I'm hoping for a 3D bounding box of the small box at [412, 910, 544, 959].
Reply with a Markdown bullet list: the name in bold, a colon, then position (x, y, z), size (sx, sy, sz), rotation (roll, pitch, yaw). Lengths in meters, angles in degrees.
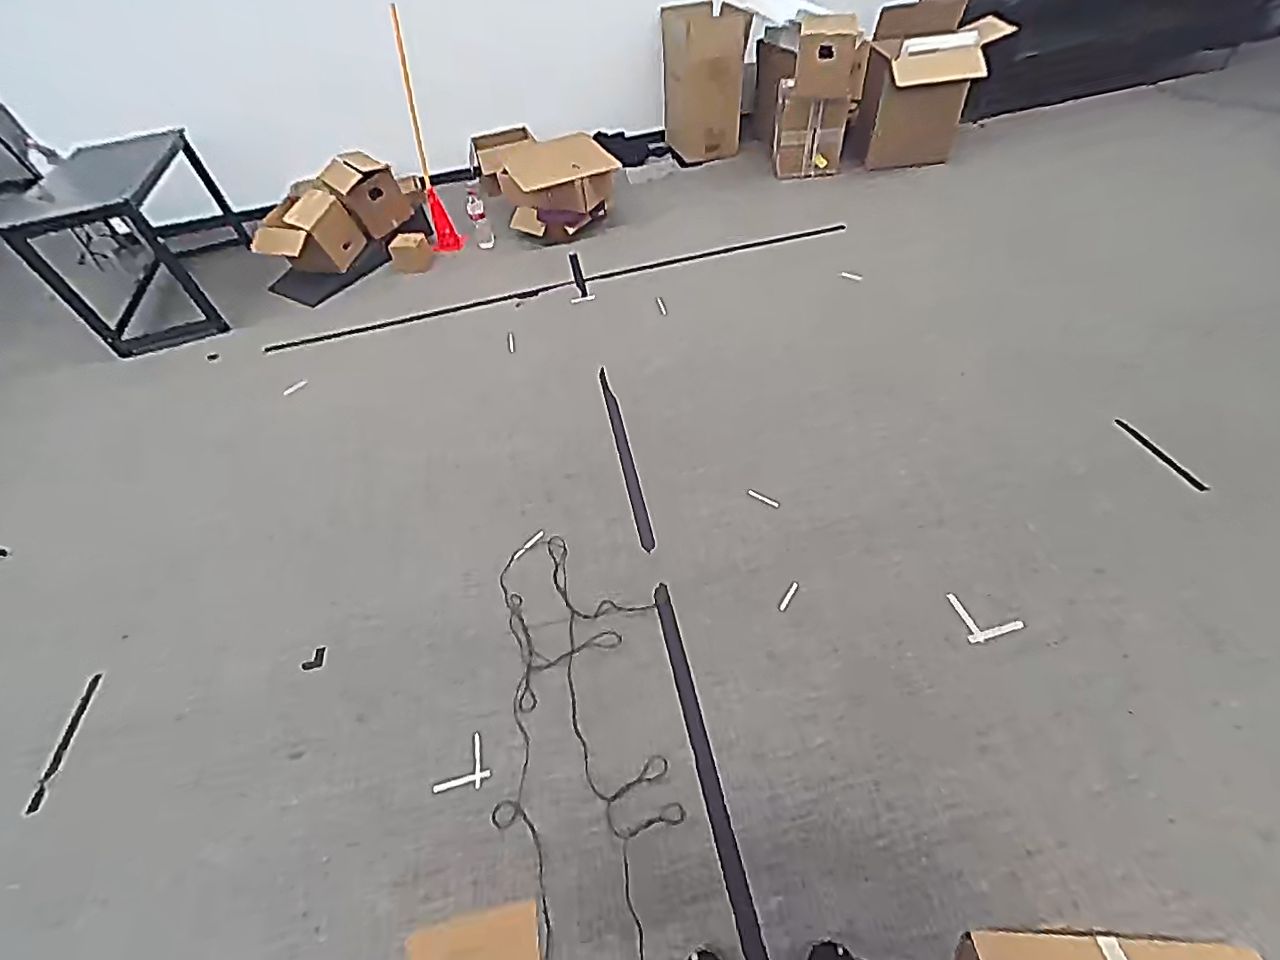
- **small box**: position (-0.196, 0.706, 0.677), size (0.168, 0.176, 0.179), rotation (-5, 18, -15)
